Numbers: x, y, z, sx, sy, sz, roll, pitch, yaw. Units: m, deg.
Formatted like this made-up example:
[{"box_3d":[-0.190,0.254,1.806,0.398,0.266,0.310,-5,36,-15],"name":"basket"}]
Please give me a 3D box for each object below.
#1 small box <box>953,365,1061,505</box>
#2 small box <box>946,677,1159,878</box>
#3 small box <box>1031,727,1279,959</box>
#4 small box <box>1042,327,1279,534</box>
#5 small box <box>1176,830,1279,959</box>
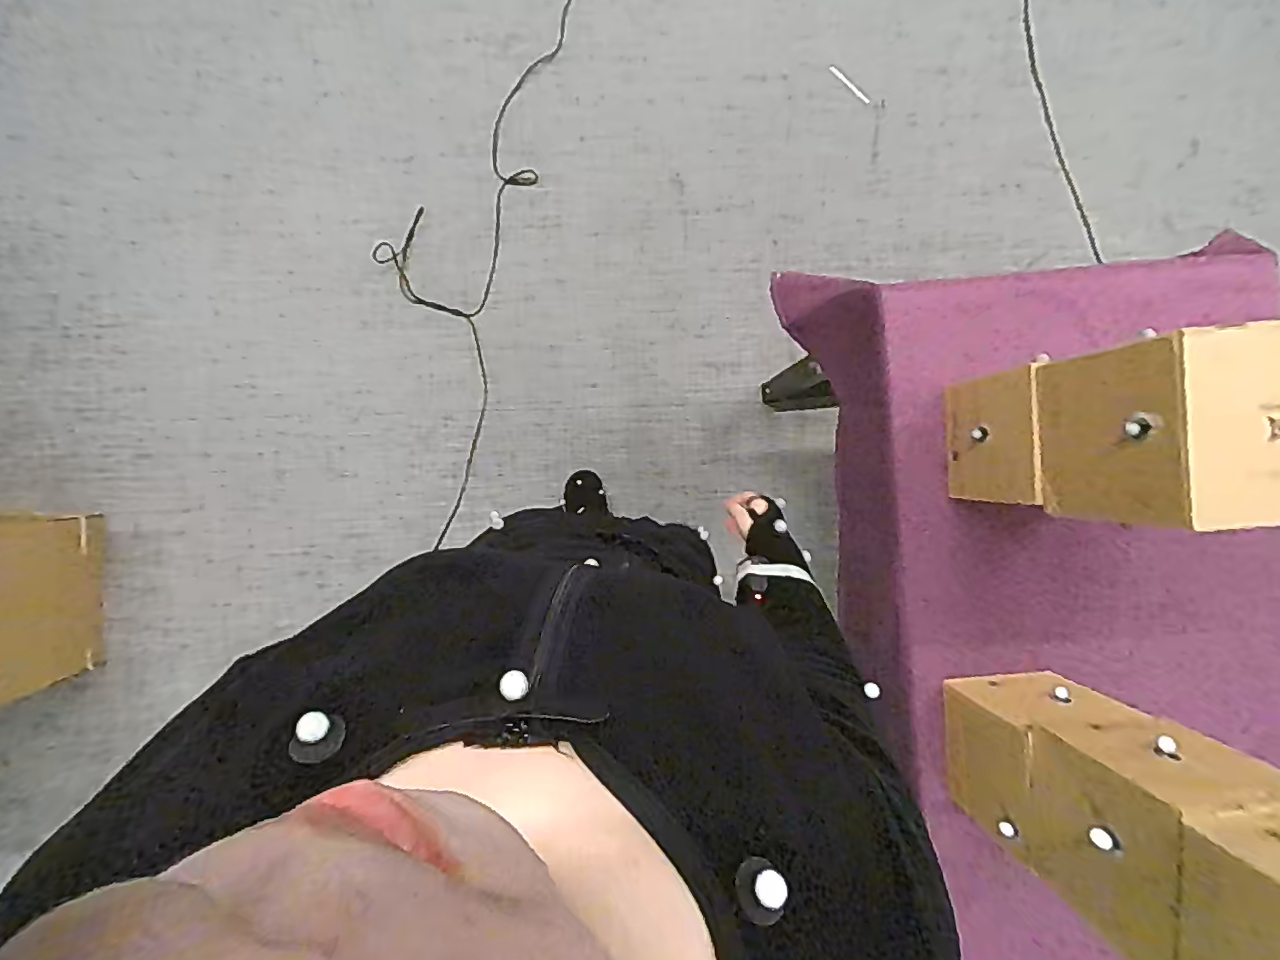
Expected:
[{"box_3d":[0.535,-0.054,0.703,0.179,0.176,0.168,-2,92,-2],"name":"small box"},{"box_3d":[0.531,0.373,0.714,0.168,0.176,0.179,-3,92,-2],"name":"small box"},{"box_3d":[0.537,0.370,0.550,0.168,0.176,0.179,0,91,-2],"name":"small box"},{"box_3d":[0.542,-0.045,0.540,0.168,0.176,0.179,-3,92,-1],"name":"small box"},{"box_3d":[0.542,0.383,0.385,0.168,0.176,0.179,1,93,-3],"name":"small box"}]
